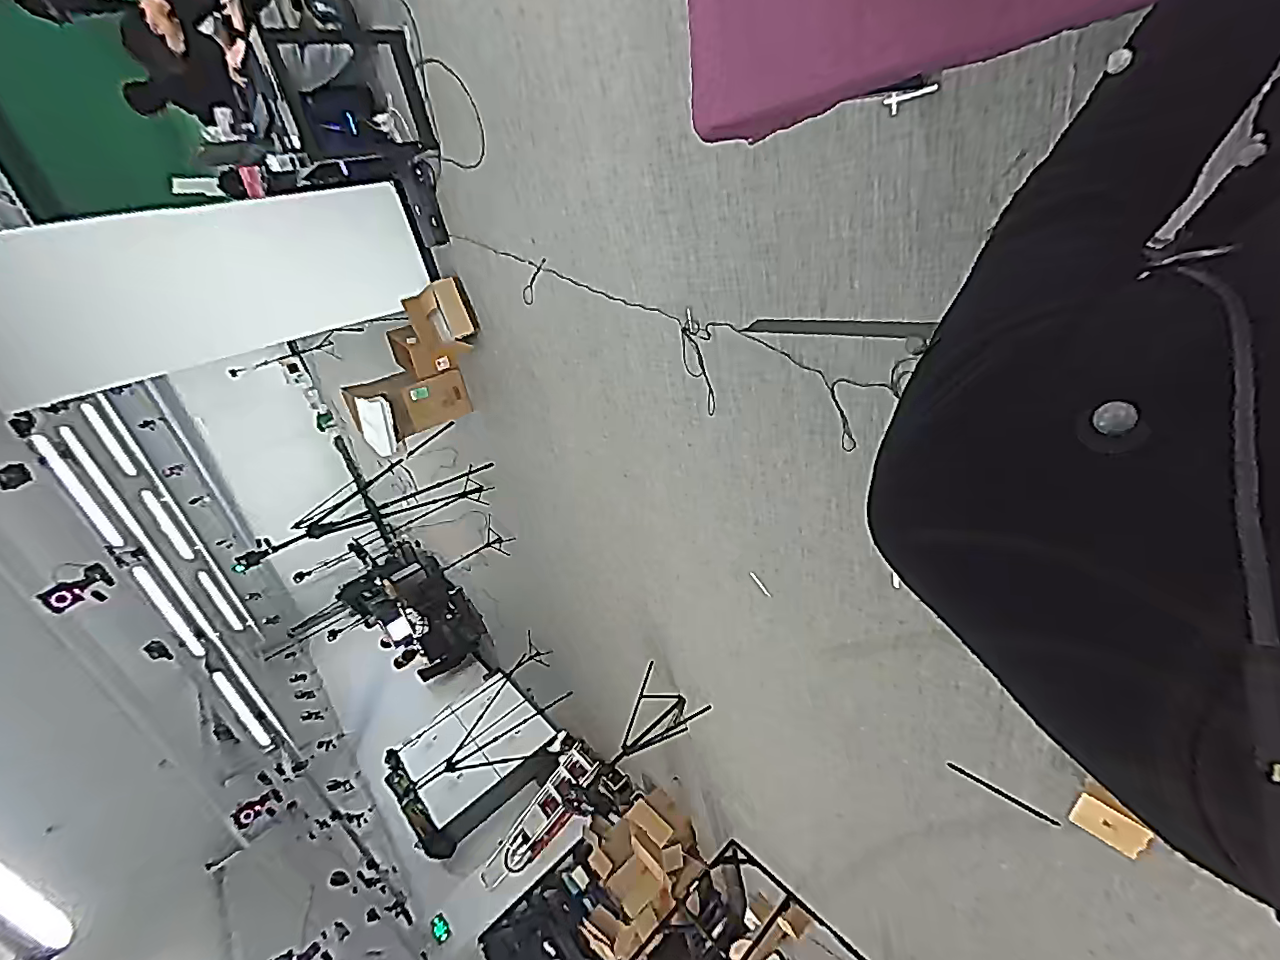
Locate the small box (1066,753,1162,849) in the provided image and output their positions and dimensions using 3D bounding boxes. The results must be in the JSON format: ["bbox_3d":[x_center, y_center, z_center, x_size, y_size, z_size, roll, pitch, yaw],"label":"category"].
[{"bbox_3d":[1.513,1.012,1.727,0.179,0.176,0.168,26,135,41],"label":"small box"}]
